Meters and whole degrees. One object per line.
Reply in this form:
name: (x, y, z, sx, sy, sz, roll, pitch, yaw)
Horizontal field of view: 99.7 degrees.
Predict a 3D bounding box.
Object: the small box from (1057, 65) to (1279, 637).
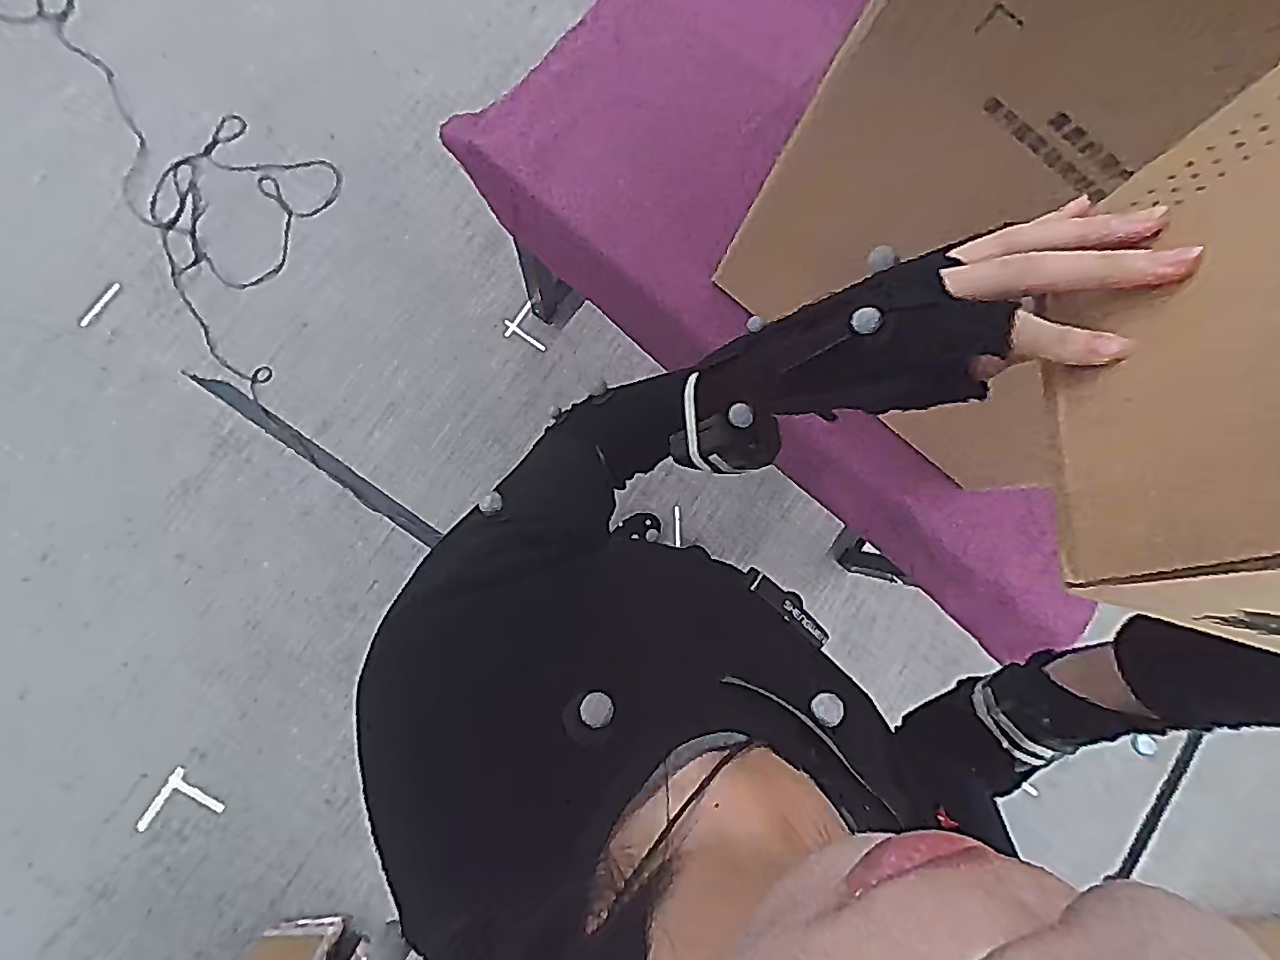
small box: (0.271, -0.047, 0.160, 0.168, 0.179, 0.176, 16, 67, -9)
